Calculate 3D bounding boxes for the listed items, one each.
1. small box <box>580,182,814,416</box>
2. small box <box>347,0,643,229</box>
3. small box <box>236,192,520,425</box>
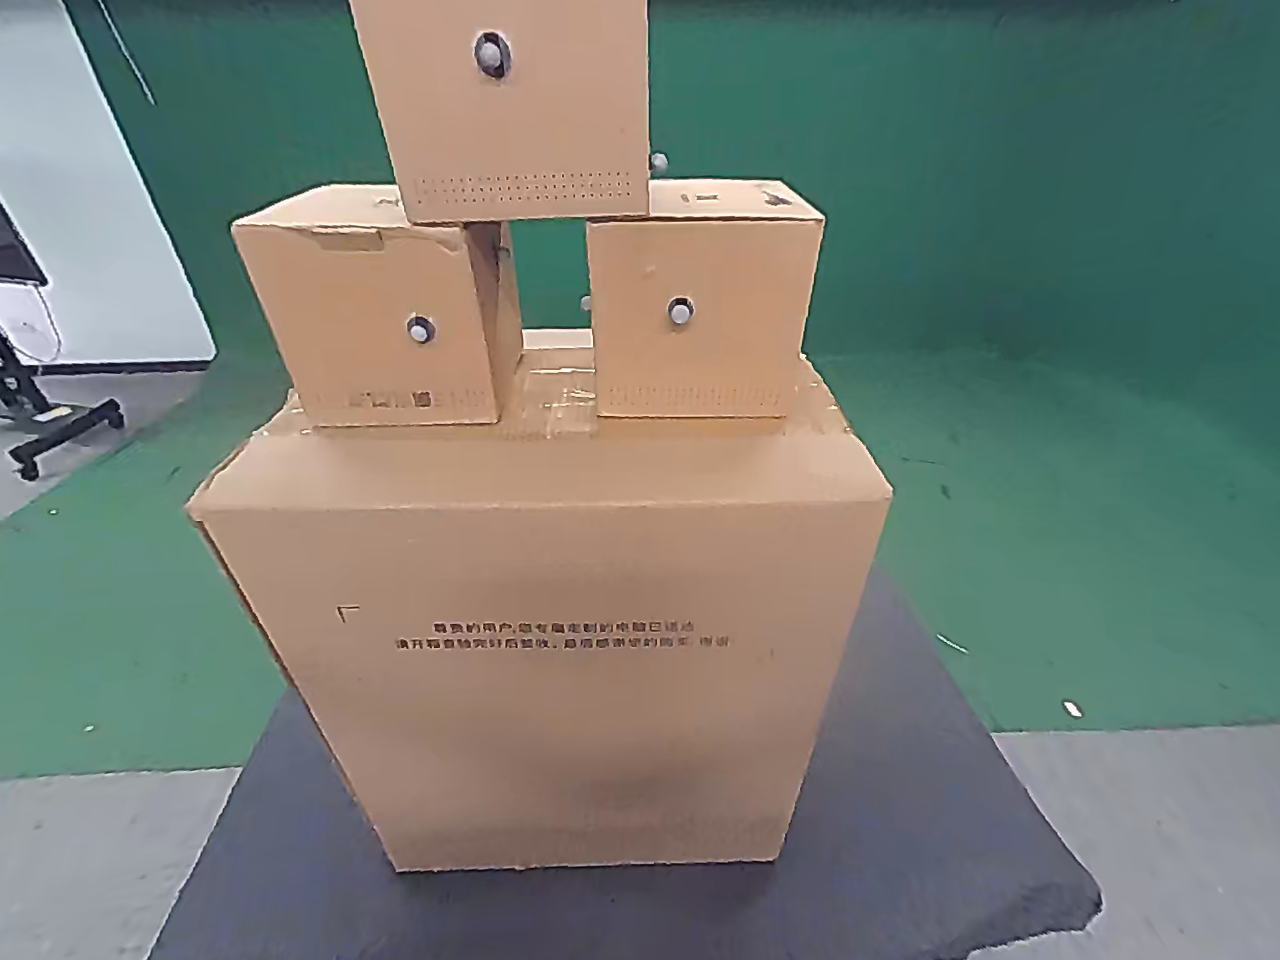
[{"bbox_3d":[0.045,-0.169,0.505,0.179,0.176,0.168,-1,38,1],"label":"small box"},{"bbox_3d":[-0.086,-0.297,0.404,0.179,0.176,0.168,-3,37,0],"label":"small box"},{"bbox_3d":[-0.211,-0.161,0.501,0.168,0.176,0.179,0,35,-2],"label":"small box"}]
